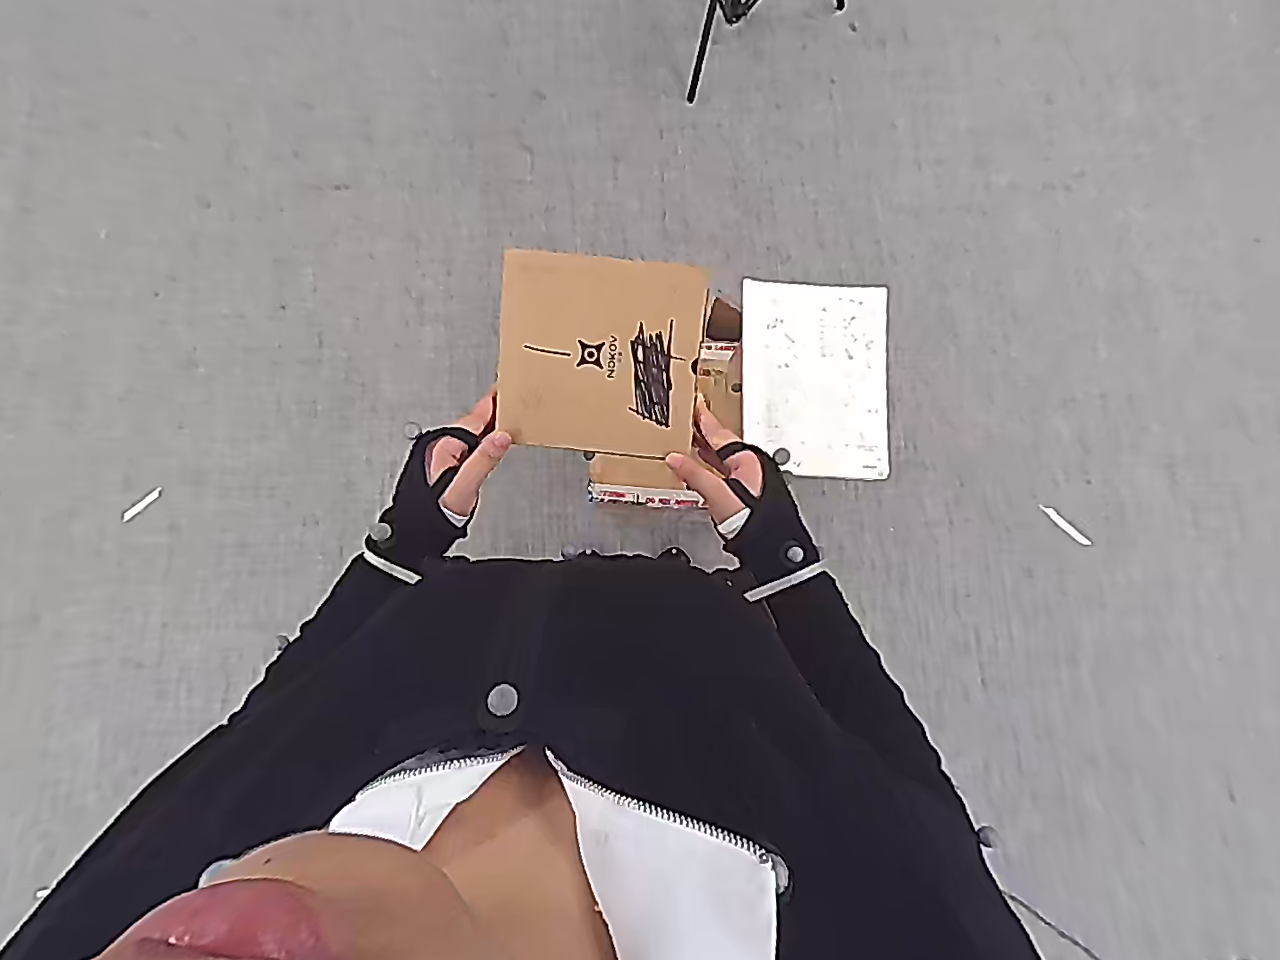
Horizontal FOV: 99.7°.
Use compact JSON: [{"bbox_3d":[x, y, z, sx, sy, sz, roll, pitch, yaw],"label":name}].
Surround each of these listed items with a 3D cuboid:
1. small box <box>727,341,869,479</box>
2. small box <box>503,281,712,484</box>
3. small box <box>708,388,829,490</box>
[{"bbox_3d":[0.231,-0.100,0.834,0.168,0.176,0.179,0,83,-2],"label":"small box"},{"bbox_3d":[-0.032,-0.098,0.564,0.179,0.176,0.168,6,98,-1],"label":"small box"},{"bbox_3d":[0.229,-0.072,0.996,0.179,0.176,0.168,-3,83,-1],"label":"small box"}]
